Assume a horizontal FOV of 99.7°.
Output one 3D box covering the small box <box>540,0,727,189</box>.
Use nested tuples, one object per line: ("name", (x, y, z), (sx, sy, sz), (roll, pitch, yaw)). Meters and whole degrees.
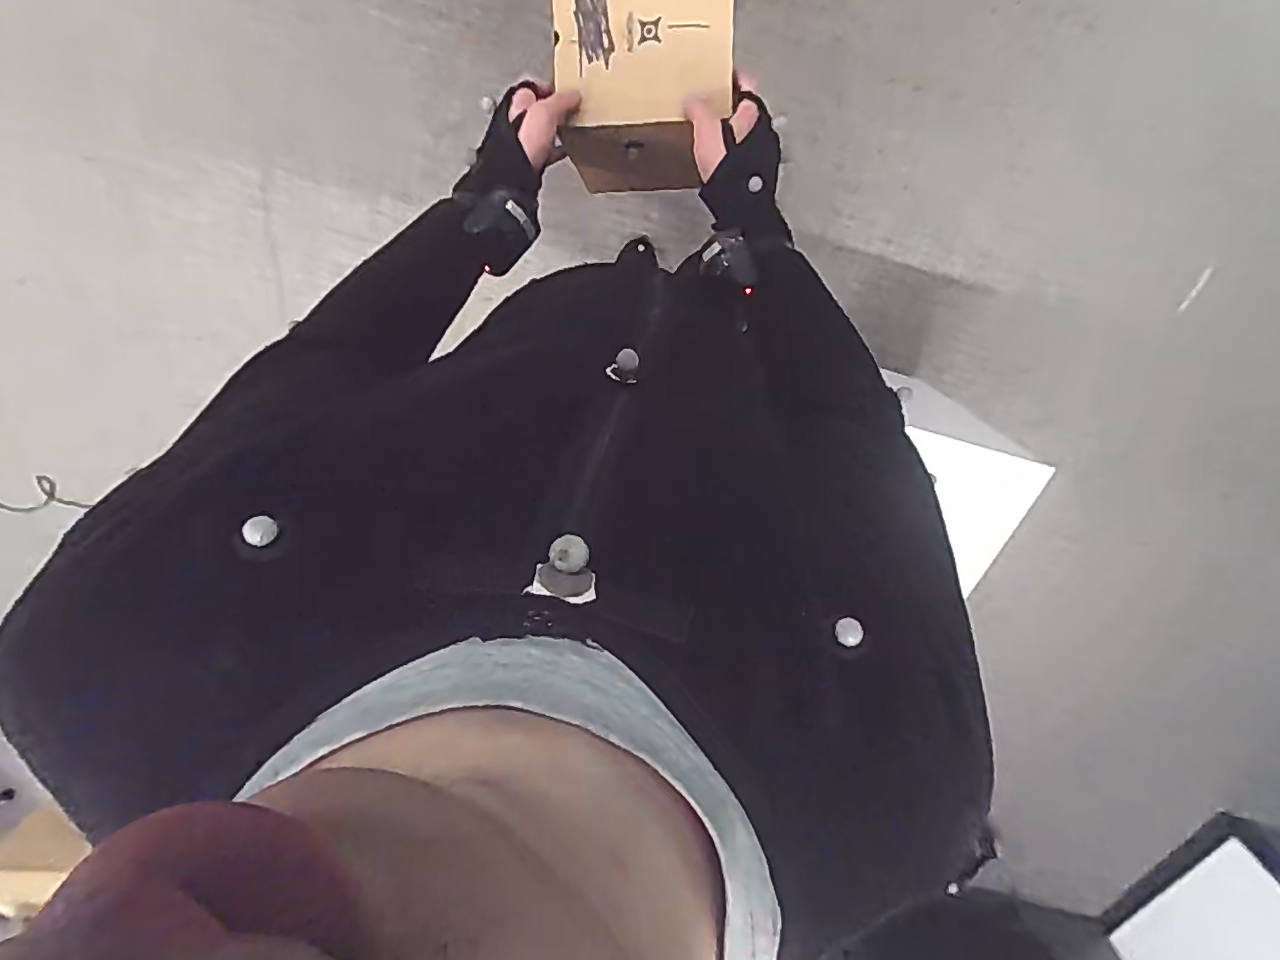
("small box", (0.003, -0.431, 0.582), (0.179, 0.176, 0.168), (0, 99, 6))
